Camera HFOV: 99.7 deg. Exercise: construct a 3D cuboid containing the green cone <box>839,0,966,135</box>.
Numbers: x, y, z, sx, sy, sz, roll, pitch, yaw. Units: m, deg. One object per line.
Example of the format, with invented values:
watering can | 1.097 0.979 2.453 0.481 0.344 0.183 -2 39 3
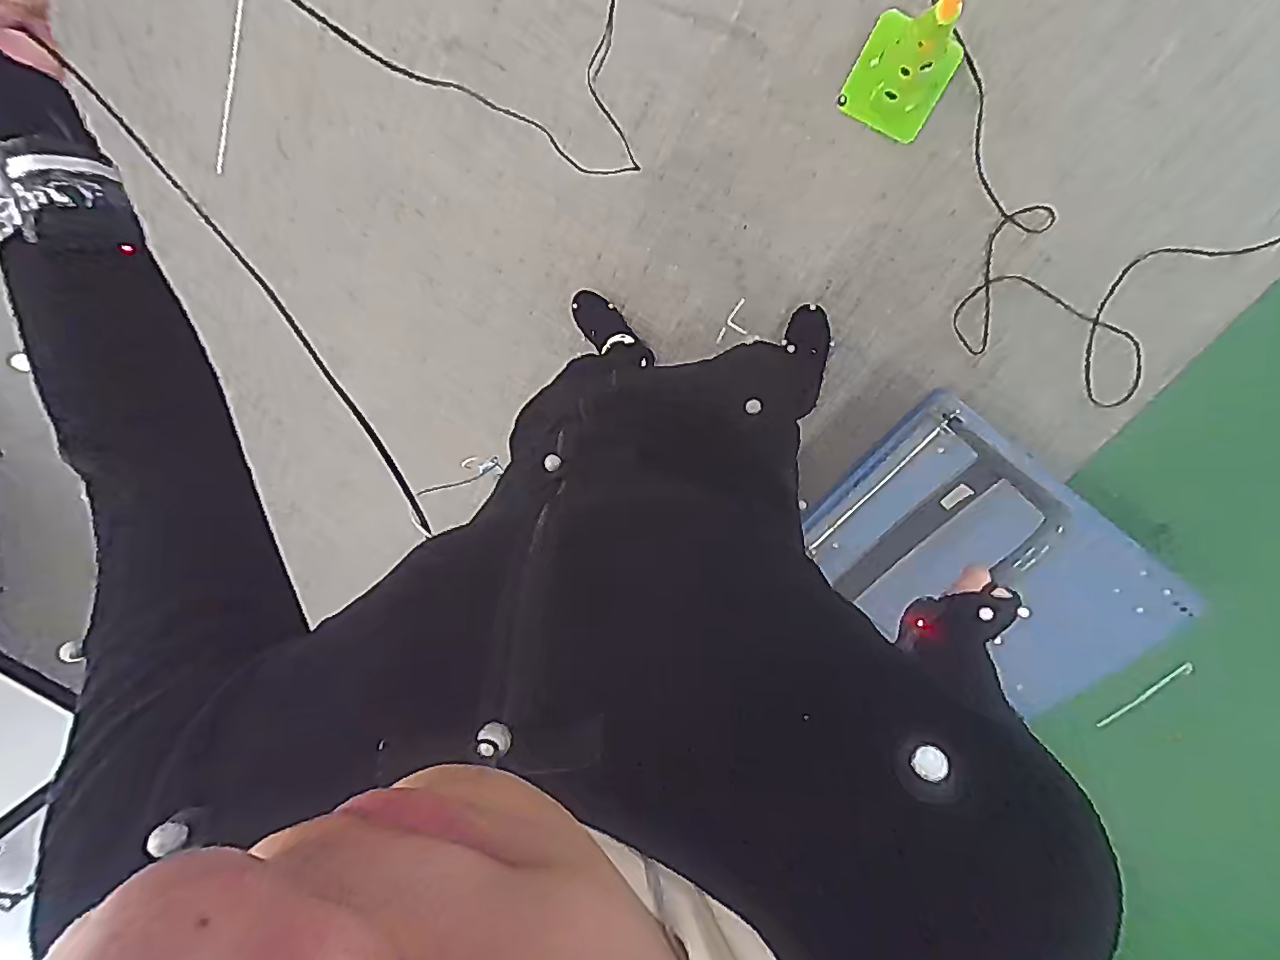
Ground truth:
green cone | 0.536 -0.831 1.021 0.200 0.368 0.202 27 114 0
